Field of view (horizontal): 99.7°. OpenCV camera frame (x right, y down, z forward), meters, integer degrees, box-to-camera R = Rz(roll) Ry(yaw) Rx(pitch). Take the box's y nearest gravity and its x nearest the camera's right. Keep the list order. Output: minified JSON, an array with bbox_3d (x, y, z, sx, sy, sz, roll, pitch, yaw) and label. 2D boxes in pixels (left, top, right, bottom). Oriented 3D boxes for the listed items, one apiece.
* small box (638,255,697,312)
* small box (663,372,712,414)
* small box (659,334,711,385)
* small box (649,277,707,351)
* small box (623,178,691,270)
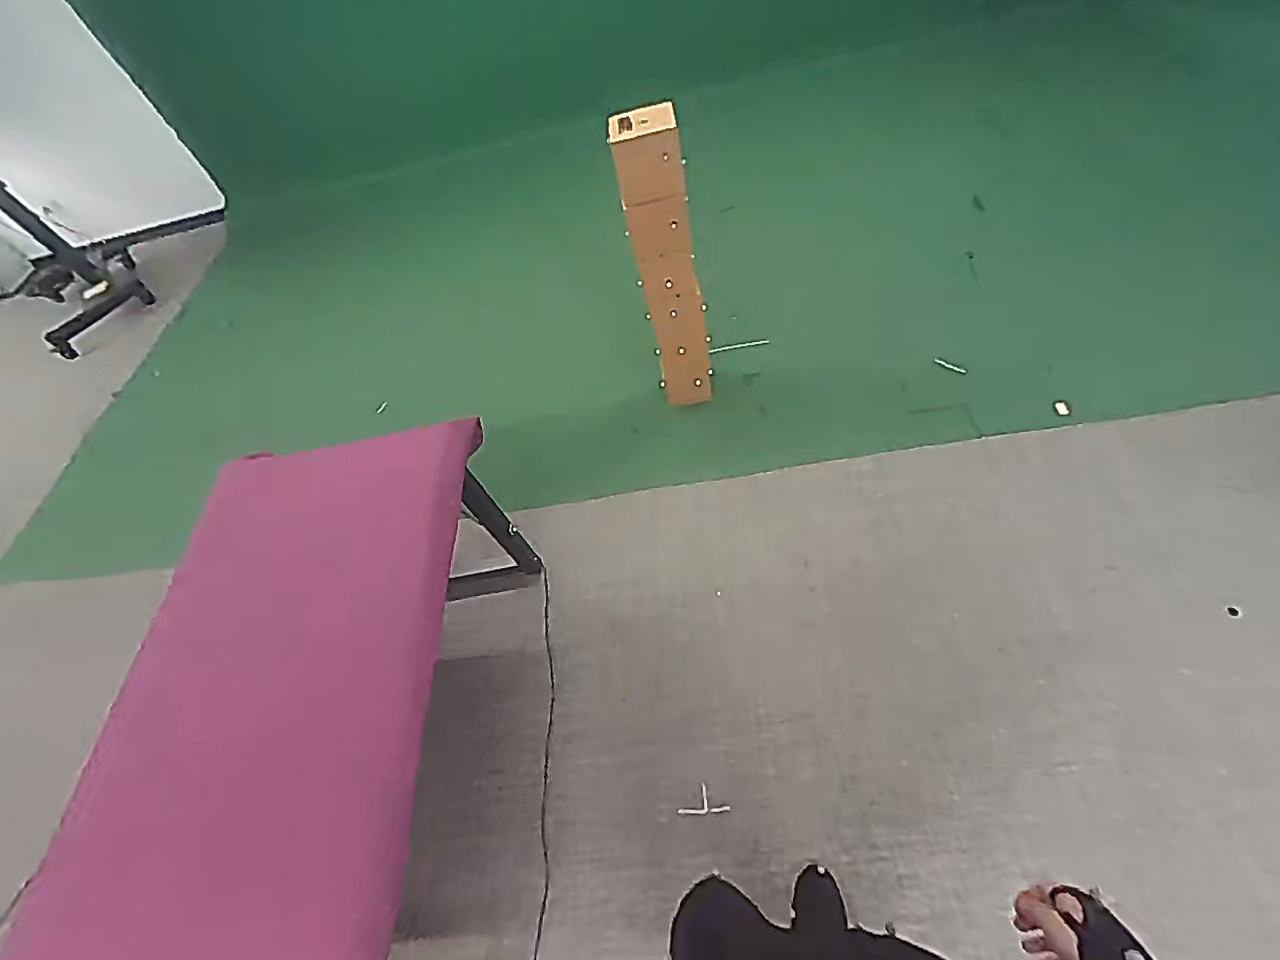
[{"bbox_3d":[0.085,-0.663,1.740,0.168,0.176,0.179,-11,54,6],"label":"small box"},{"bbox_3d":[0.189,-0.382,2.127,0.179,0.176,0.168,-9,54,8],"label":"small box"},{"bbox_3d":[0.162,-0.477,1.998,0.179,0.176,0.168,-12,53,7],"label":"small box"},{"bbox_3d":[0.126,-0.571,1.869,0.179,0.176,0.168,-12,54,5],"label":"small box"},{"bbox_3d":[0.055,-0.758,1.611,0.179,0.176,0.168,-11,52,7],"label":"small box"}]
